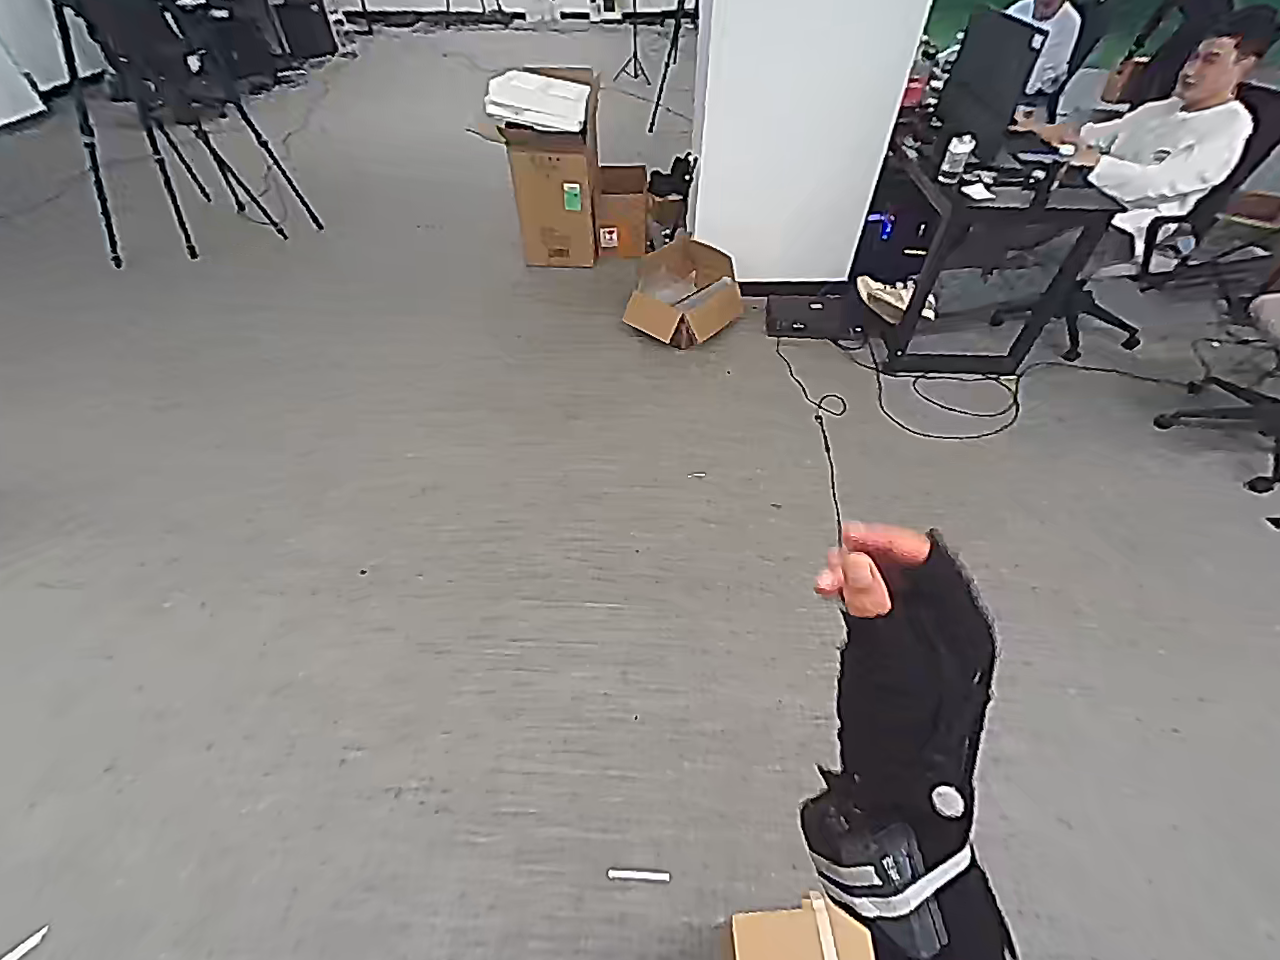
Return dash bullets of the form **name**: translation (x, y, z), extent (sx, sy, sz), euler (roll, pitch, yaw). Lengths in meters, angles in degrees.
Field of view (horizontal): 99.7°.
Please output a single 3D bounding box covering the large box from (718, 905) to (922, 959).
- **large box**: translation (0.326, 1.000, 0.925), extent (0.320, 0.320, 0.408), euler (-3, 49, 0)
